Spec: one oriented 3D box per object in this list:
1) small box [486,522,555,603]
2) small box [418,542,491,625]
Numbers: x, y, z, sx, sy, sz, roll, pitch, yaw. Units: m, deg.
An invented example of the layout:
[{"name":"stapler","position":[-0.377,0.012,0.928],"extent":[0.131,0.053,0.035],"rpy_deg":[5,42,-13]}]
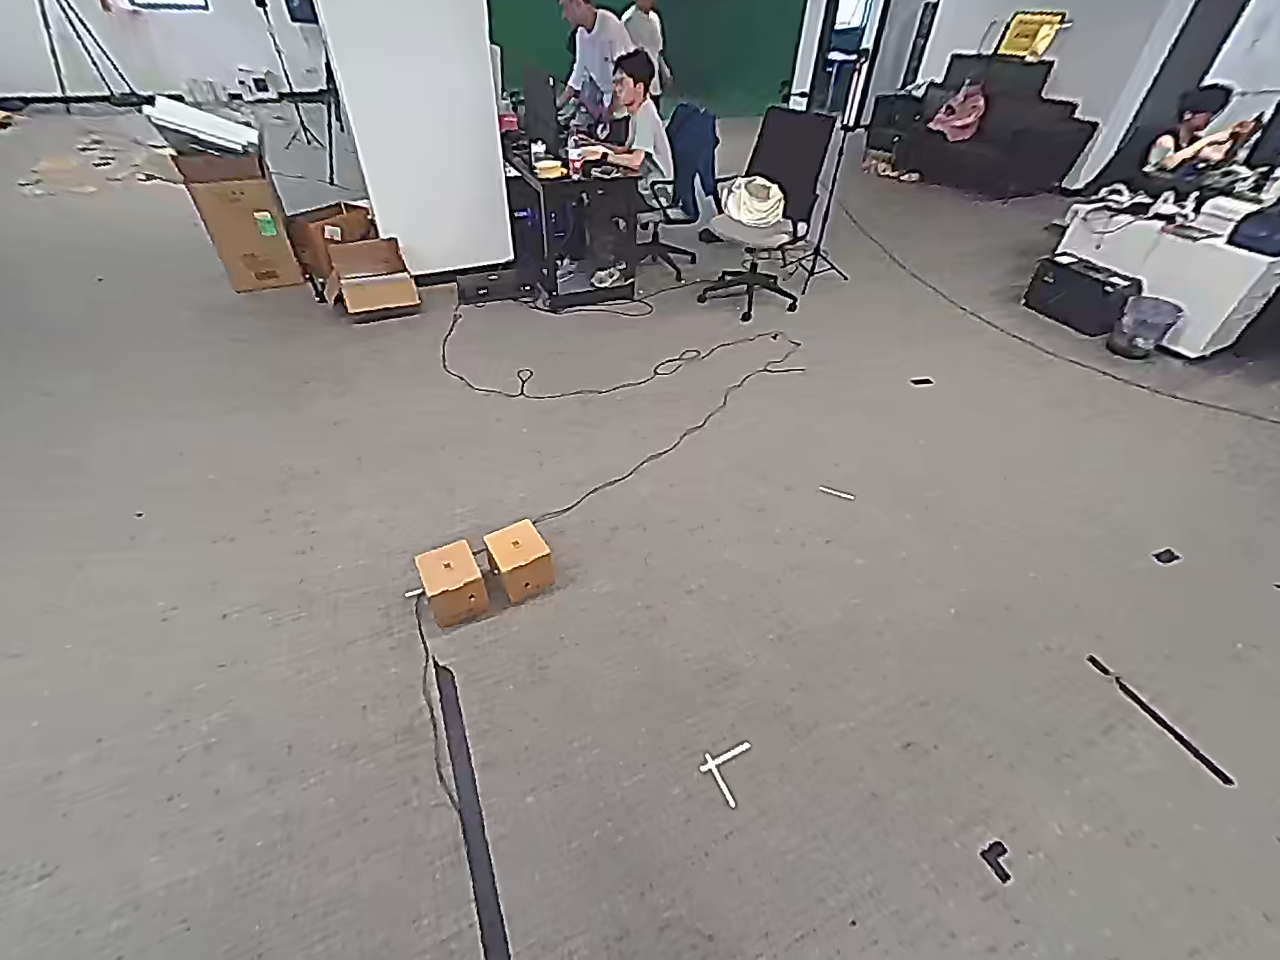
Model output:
[{"name":"small box","position":[-0.397,0.277,1.806],"extent":[0.168,0.176,0.179],"rpy_deg":[-23,48,-25]},{"name":"small box","position":[-0.591,0.338,1.730],"extent":[0.168,0.176,0.179],"rpy_deg":[-19,46,-23]}]
